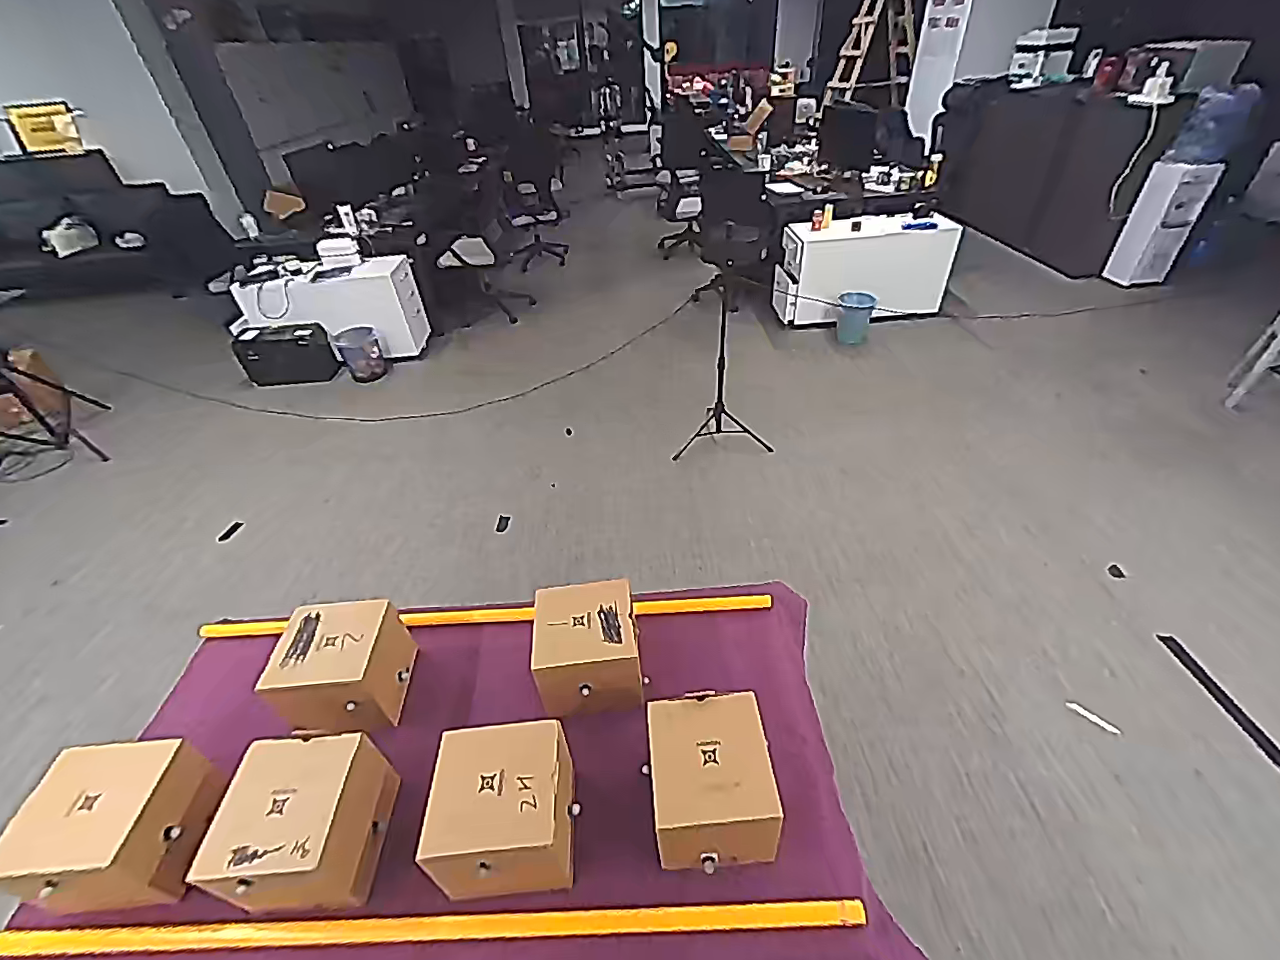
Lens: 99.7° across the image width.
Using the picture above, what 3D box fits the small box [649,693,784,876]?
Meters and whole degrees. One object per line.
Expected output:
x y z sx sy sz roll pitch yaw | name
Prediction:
0.102 0.441 0.789 0.168 0.176 0.179 -6 37 1 | small box

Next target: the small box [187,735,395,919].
-0.479 0.500 0.782 0.168 0.176 0.179 -6 39 1 | small box

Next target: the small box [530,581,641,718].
-0.091 0.306 0.977 0.179 0.176 0.168 -7 40 -1 | small box

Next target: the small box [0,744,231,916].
-0.760 0.513 0.795 0.179 0.176 0.168 -5 39 -1 | small box

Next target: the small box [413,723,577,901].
-0.193 0.477 0.777 0.179 0.176 0.168 -6 38 0 | small box
